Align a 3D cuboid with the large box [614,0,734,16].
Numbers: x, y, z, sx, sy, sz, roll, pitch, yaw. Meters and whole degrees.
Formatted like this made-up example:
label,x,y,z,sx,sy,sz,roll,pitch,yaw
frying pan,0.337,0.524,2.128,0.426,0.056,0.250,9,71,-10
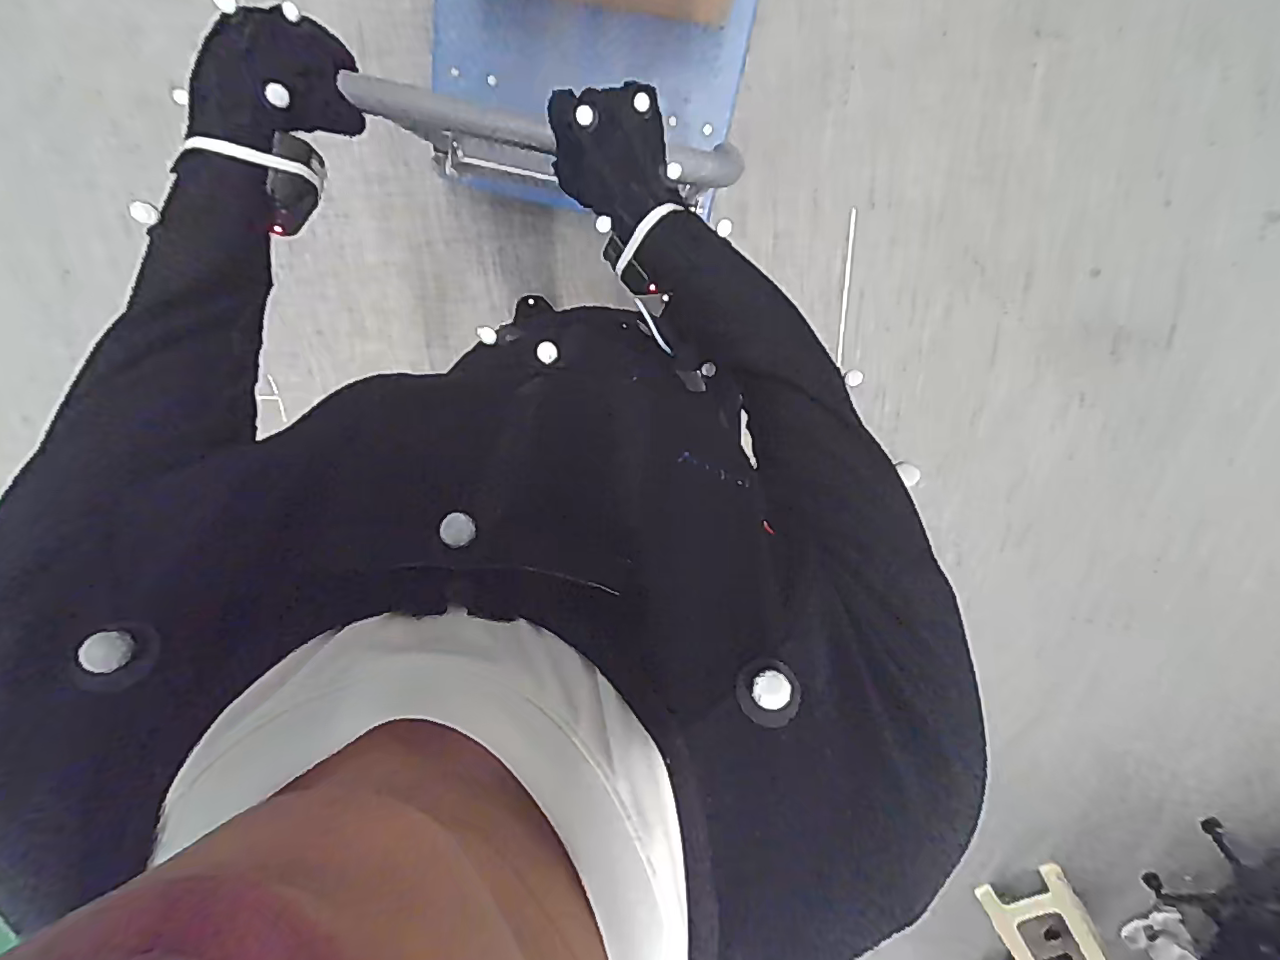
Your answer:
label,x,y,z,sx,sy,sz,roll,pitch,yaw
large box,-0.023,-0.936,0.783,0.408,0.320,0.320,9,115,-1
